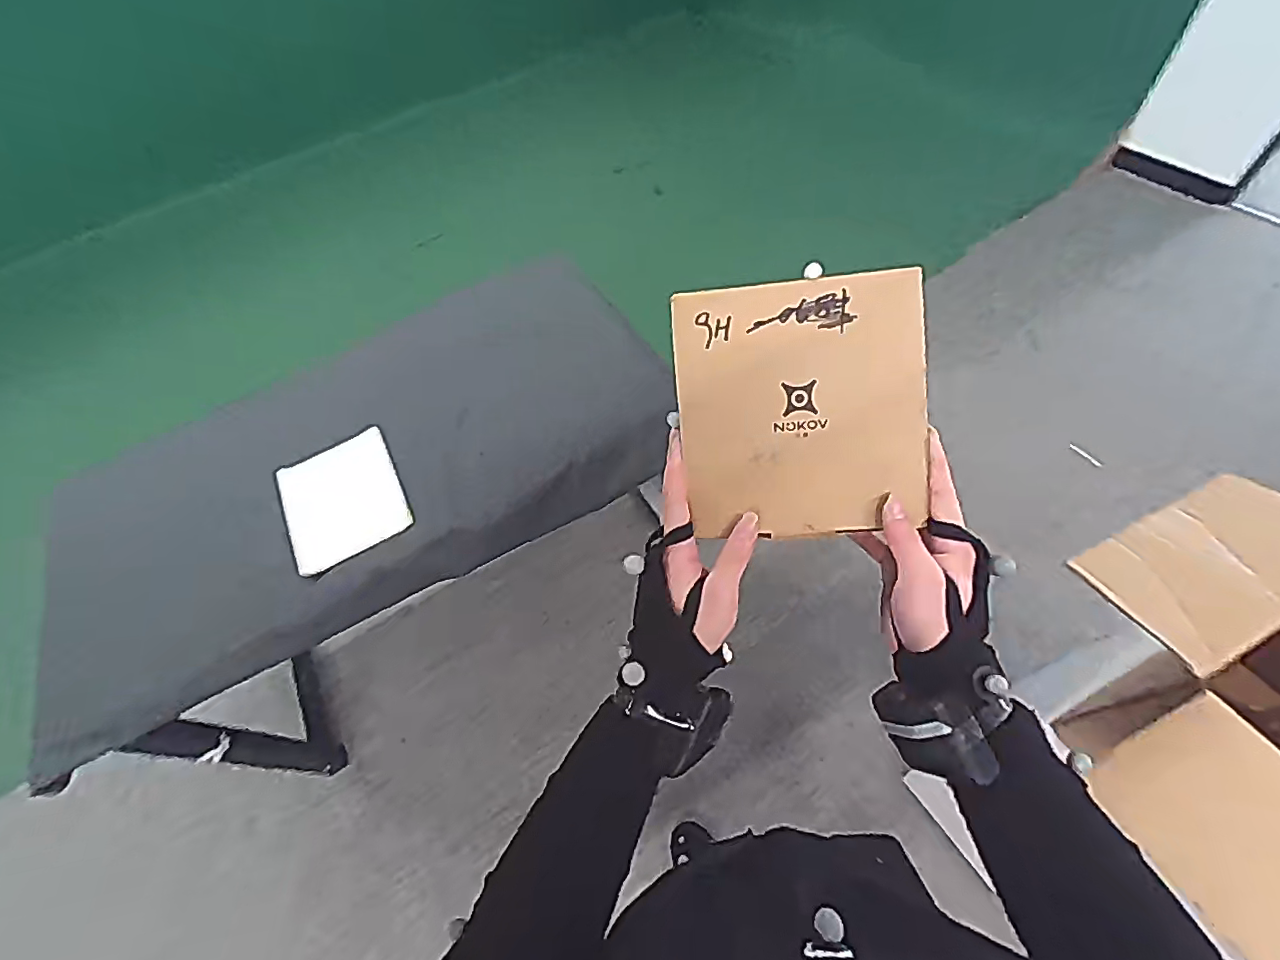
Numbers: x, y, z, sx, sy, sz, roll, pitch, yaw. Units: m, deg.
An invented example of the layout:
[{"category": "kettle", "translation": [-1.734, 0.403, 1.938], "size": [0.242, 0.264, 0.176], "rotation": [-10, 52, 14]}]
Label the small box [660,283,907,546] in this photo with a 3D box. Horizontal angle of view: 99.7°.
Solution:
[{"category": "small box", "translation": [0.110, -0.053, 0.455], "size": [0.168, 0.176, 0.179], "rotation": [-4, 98, 7]}]
